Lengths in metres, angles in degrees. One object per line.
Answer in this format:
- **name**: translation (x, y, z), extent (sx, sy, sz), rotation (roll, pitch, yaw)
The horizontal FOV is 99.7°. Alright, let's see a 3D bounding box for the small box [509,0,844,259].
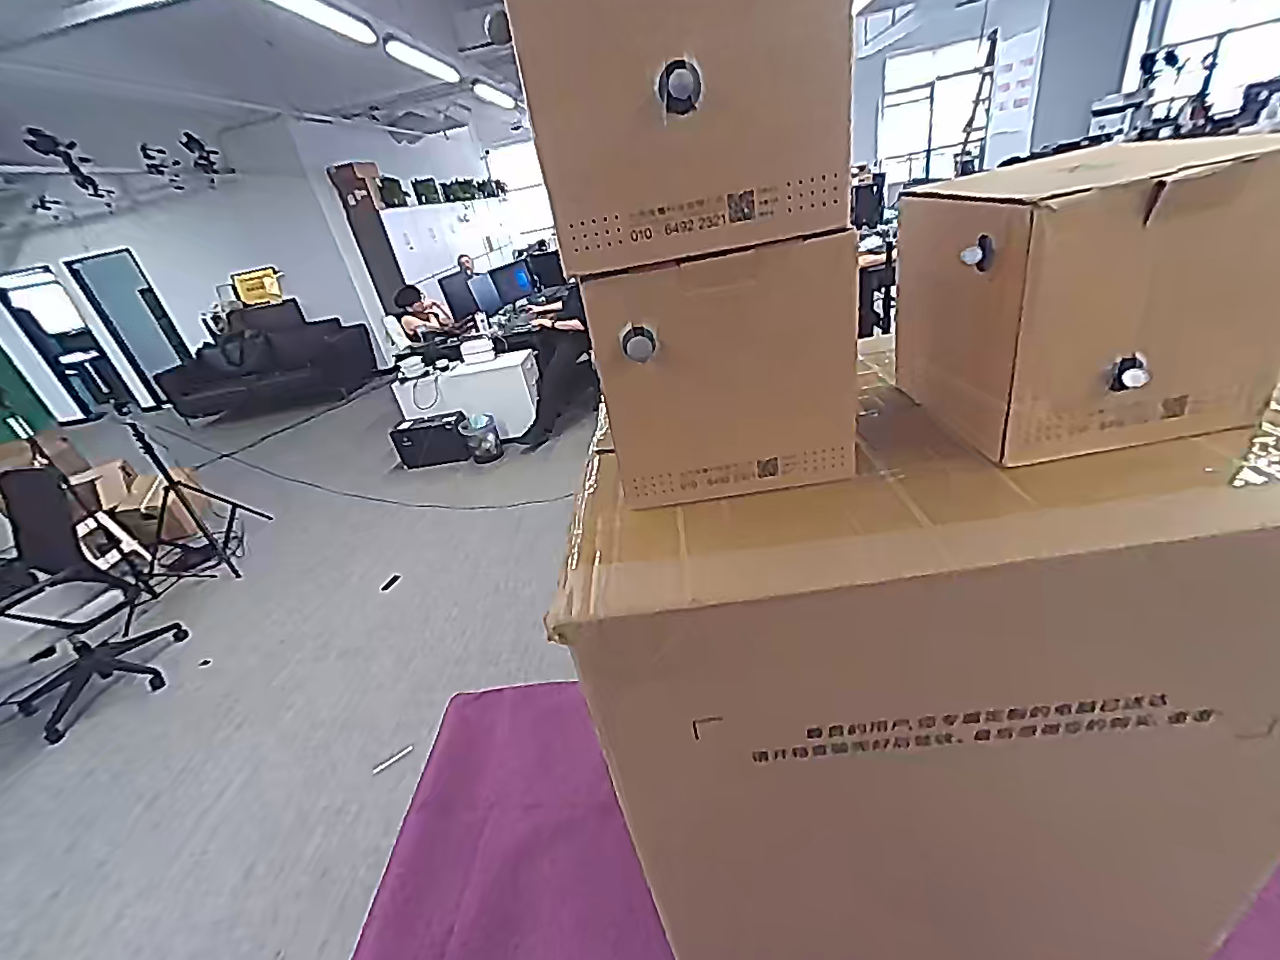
- **small box**: translation (0.022, -0.244, 0.342), extent (0.168, 0.176, 0.179), rotation (-9, 28, 2)

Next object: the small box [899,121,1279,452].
- **small box**: translation (0.304, -0.139, 0.391), extent (0.168, 0.176, 0.179), rotation (-11, 29, 5)
